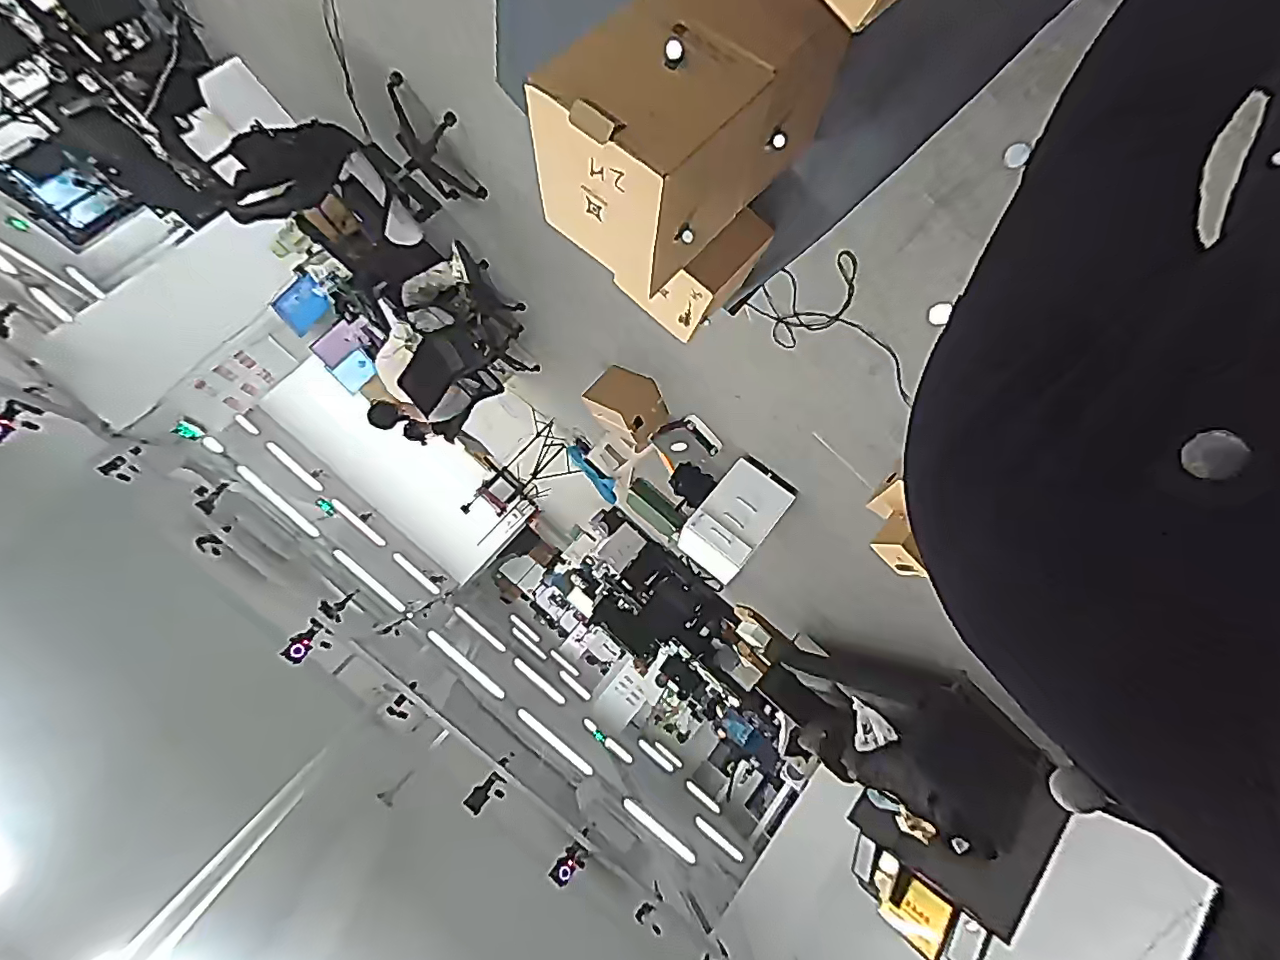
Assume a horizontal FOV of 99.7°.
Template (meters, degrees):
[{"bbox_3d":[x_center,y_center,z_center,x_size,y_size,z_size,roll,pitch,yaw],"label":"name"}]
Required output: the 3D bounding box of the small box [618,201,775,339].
[{"bbox_3d":[0.091,-0.385,0.919,0.179,0.176,0.168,41,164,0],"label":"small box"}]

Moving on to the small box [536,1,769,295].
[{"bbox_3d":[0.014,-0.349,0.586,0.168,0.176,0.179,39,164,8],"label":"small box"}]

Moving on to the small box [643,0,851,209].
[{"bbox_3d":[0.116,-0.470,0.629,0.168,0.176,0.179,38,164,11],"label":"small box"}]
